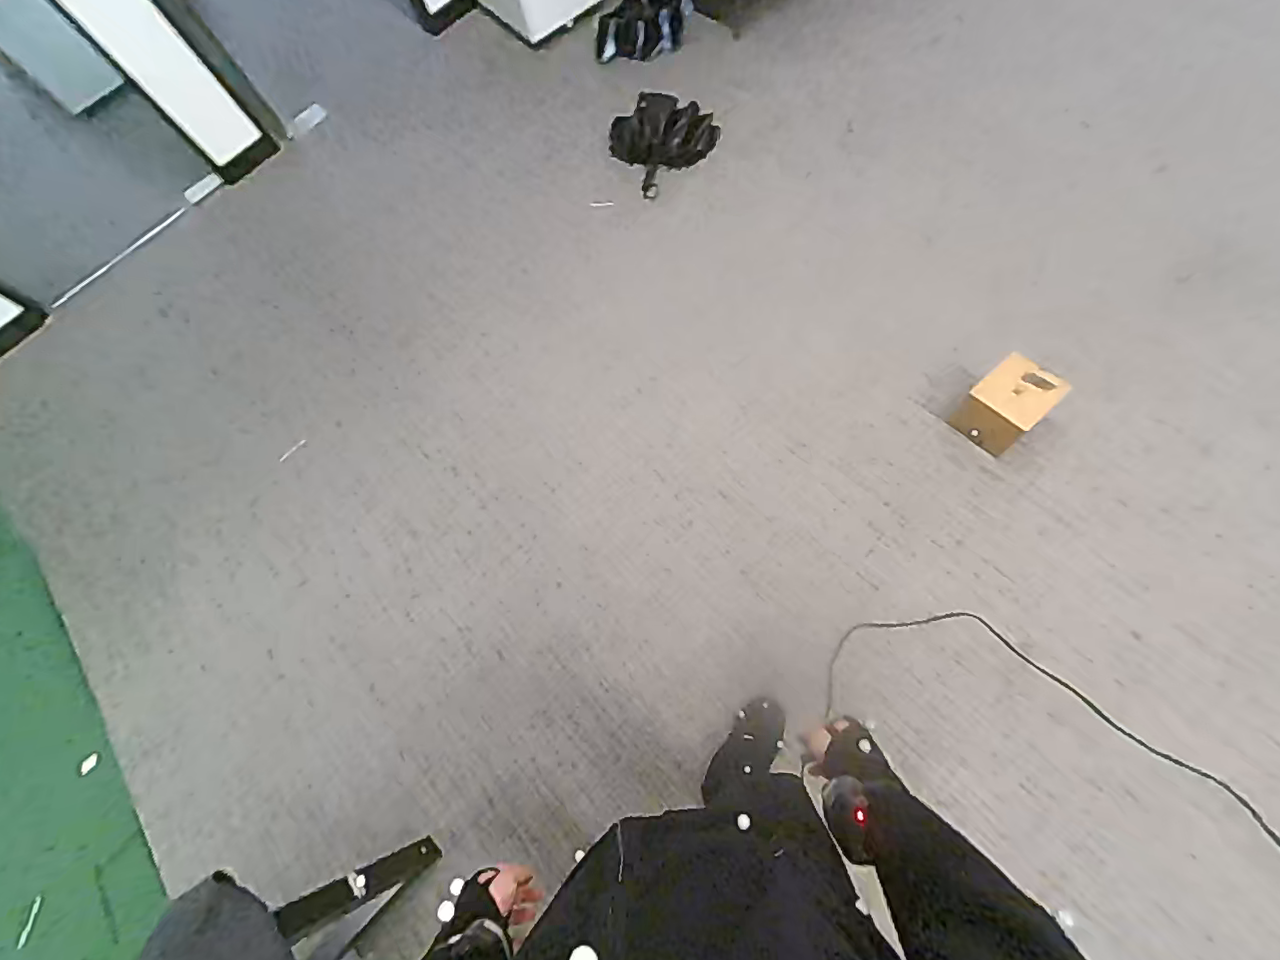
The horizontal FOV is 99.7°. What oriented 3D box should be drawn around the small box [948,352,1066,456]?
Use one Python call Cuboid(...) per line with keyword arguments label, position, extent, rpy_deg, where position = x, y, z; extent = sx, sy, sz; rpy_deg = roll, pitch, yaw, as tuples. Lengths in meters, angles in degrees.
Cuboid(label="small box", position=(0.960, -0.196, 1.435), extent=(0.179, 0.176, 0.168), rpy_deg=(-42, 66, -6))
